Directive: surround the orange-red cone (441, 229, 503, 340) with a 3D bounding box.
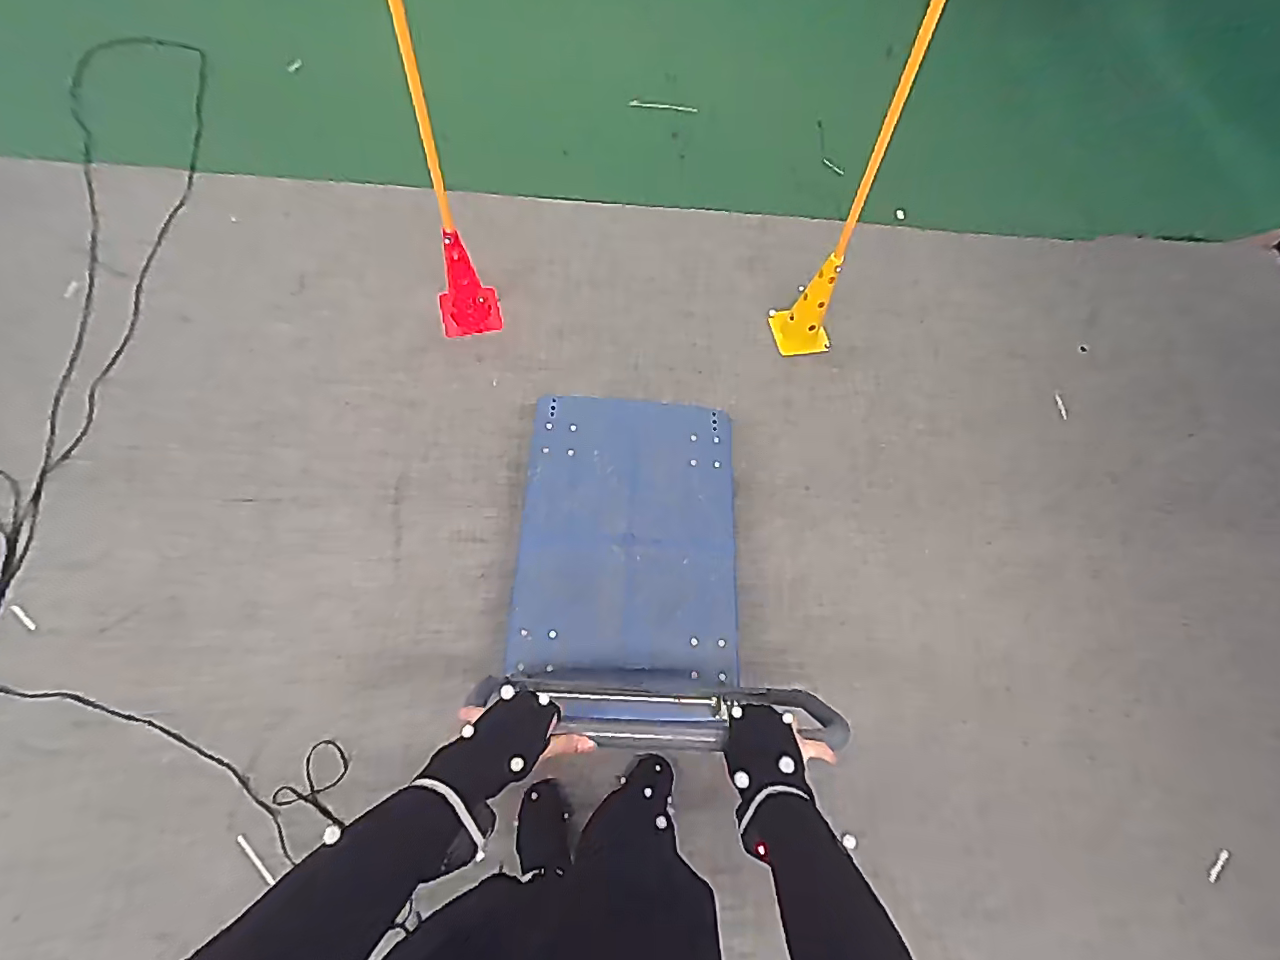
[{"bbox_3d":[-0.578,-0.650,1.743,0.199,0.360,0.198,-12,67,-10],"label":"orange-red cone"}]
